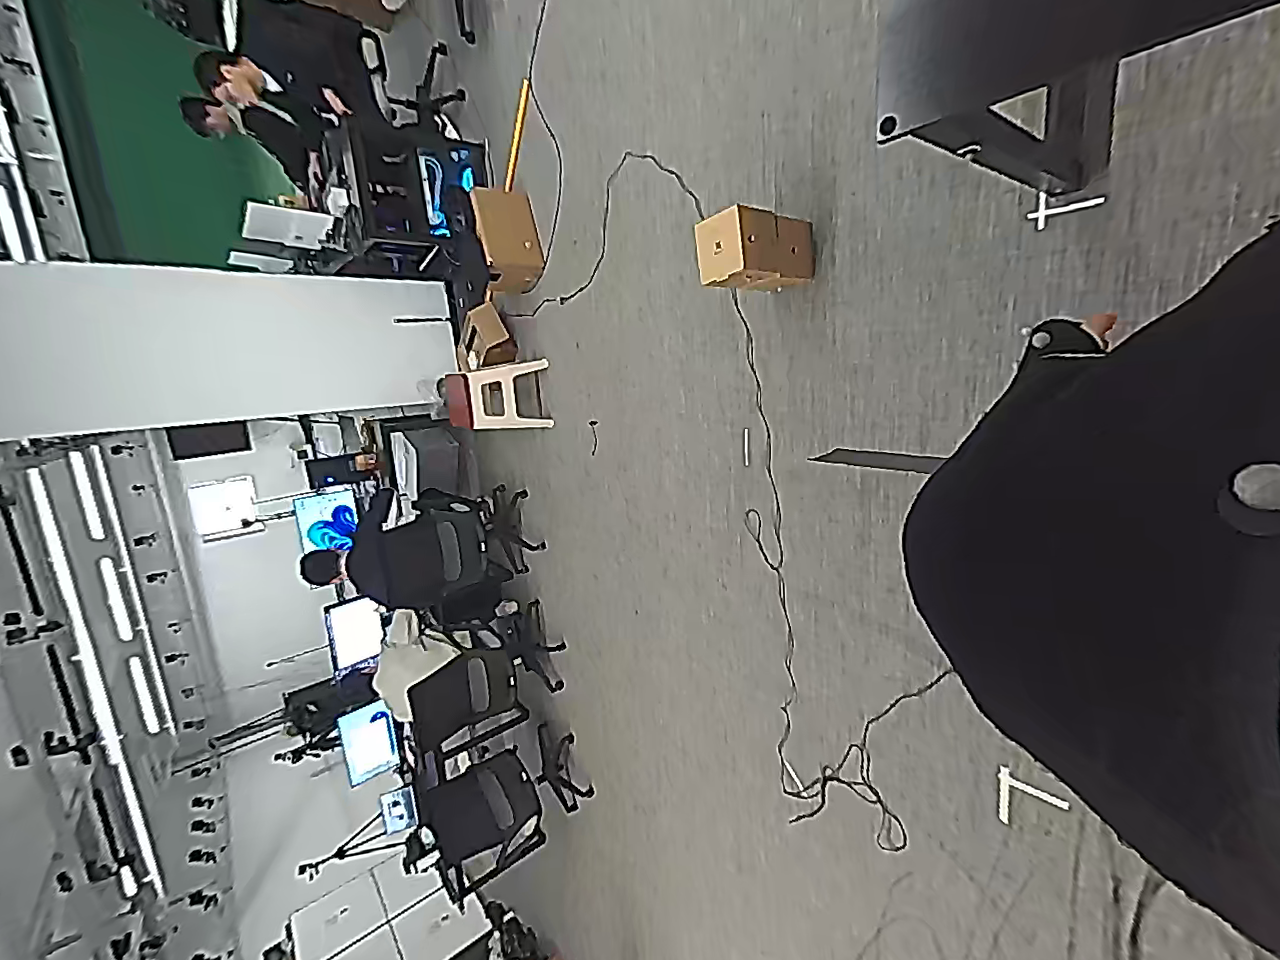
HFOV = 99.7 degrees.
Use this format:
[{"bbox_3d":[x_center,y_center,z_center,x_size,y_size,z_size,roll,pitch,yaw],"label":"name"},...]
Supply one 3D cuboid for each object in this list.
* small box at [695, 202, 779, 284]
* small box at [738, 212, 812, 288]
[{"bbox_3d":[0.284,-0.674,1.562,0.168,0.176,0.179,1,100,51],"label":"small box"},{"bbox_3d":[0.411,-0.698,1.661,0.168,0.176,0.179,6,106,51],"label":"small box"}]
